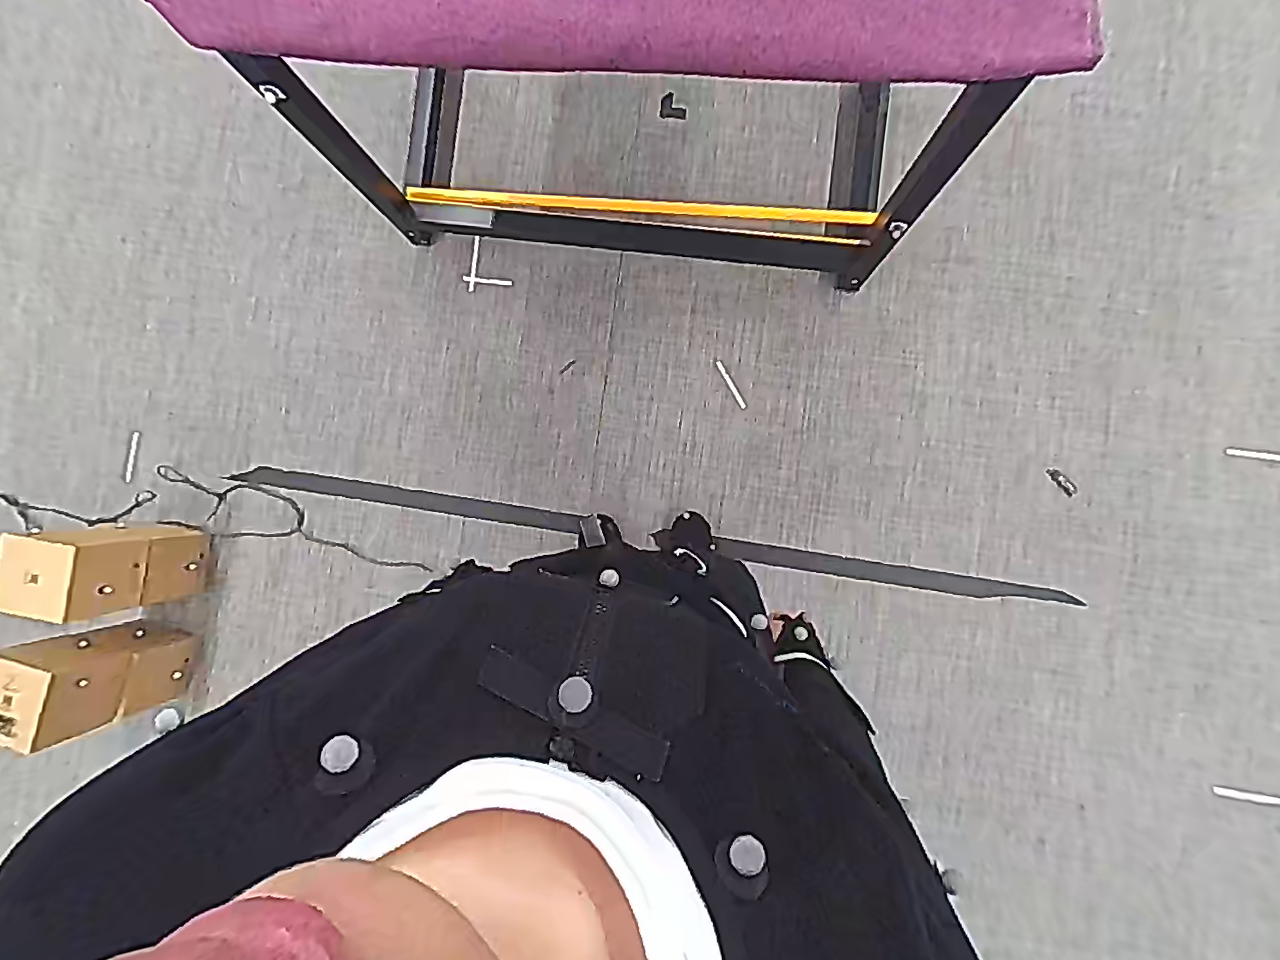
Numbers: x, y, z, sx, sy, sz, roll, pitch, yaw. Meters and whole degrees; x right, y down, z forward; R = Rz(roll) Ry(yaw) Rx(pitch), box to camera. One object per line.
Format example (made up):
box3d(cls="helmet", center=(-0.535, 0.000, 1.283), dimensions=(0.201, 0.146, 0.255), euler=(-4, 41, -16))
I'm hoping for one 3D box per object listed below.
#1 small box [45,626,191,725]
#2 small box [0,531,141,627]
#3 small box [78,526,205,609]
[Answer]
box3d(cls="small box", center=(-1.282, 0.473, 1.339), dimensions=(0.179, 0.176, 0.168), euler=(15, 89, 3))
box3d(cls="small box", center=(-1.258, 0.208, 1.185), dimensions=(0.179, 0.176, 0.168), euler=(9, 89, 4))
box3d(cls="small box", center=(-1.249, 0.210, 1.347), dimensions=(0.179, 0.176, 0.168), euler=(9, 90, 3))
